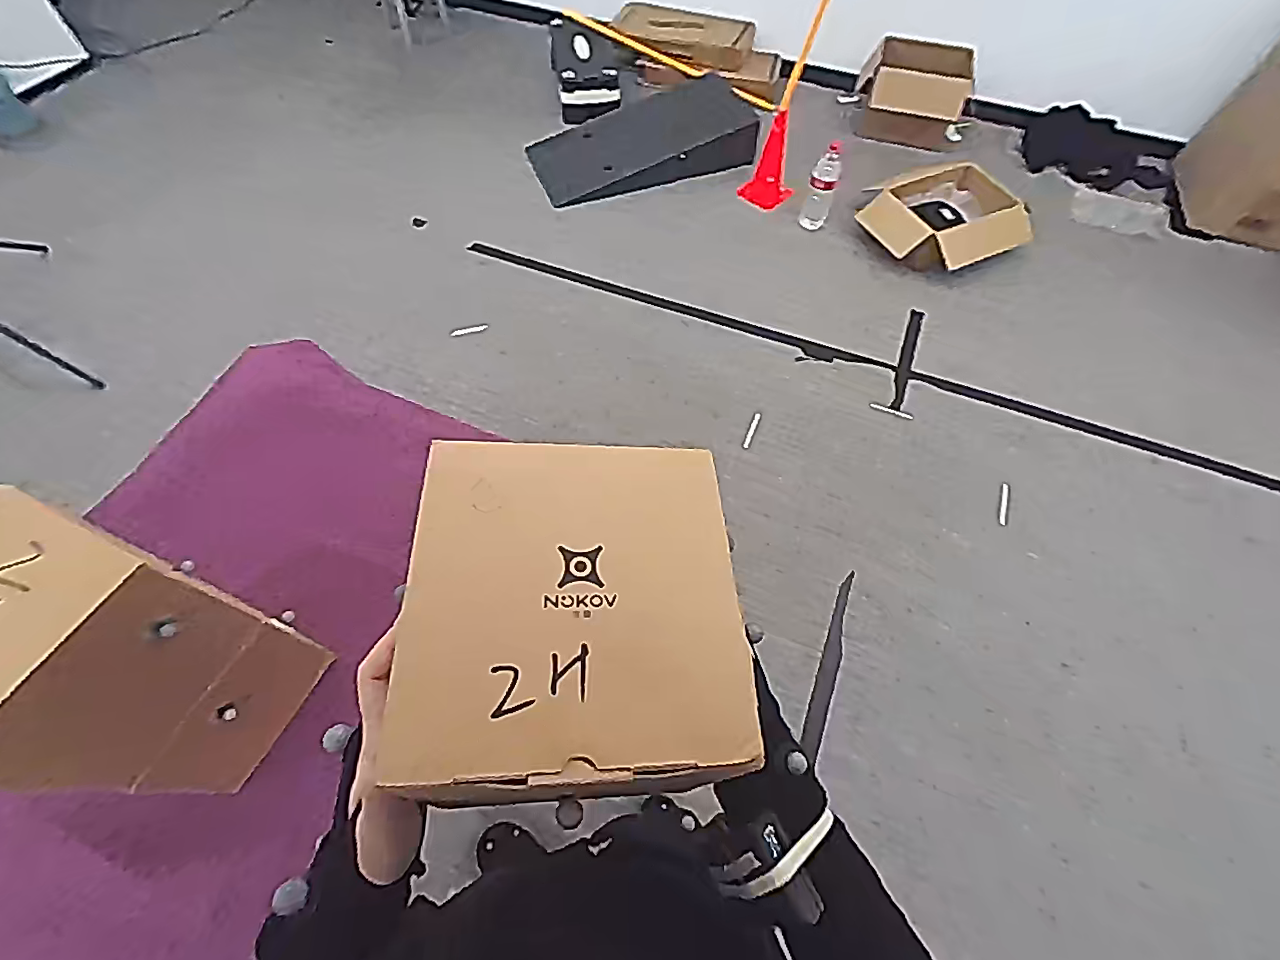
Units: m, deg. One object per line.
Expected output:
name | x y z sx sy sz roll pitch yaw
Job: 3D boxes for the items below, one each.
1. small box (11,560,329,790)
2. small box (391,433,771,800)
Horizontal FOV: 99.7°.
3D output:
small box | -0.503 0.226 0.615 0.168 0.176 0.179 22 61 11
small box | -0.037 0.092 0.341 0.168 0.176 0.179 1 57 -8
